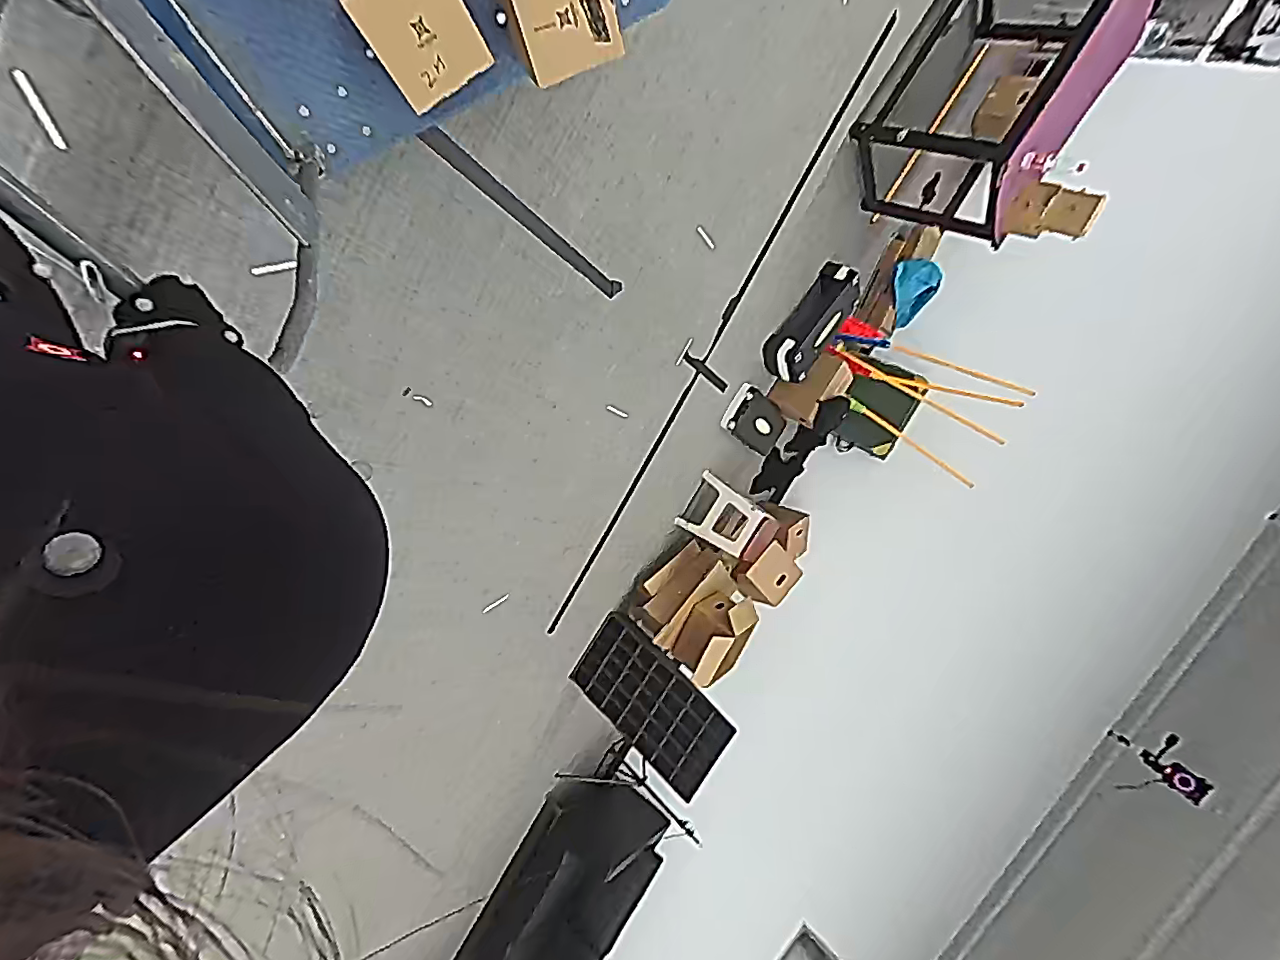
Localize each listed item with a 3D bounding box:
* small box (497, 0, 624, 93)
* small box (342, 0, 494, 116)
[{"bbox_3d":[-0.151,-0.846,0.975,0.179,0.176,0.168,-24,144,-3],"label":"small box"},{"bbox_3d":[-0.380,-0.773,0.919,0.168,0.176,0.179,-30,144,5],"label":"small box"}]
